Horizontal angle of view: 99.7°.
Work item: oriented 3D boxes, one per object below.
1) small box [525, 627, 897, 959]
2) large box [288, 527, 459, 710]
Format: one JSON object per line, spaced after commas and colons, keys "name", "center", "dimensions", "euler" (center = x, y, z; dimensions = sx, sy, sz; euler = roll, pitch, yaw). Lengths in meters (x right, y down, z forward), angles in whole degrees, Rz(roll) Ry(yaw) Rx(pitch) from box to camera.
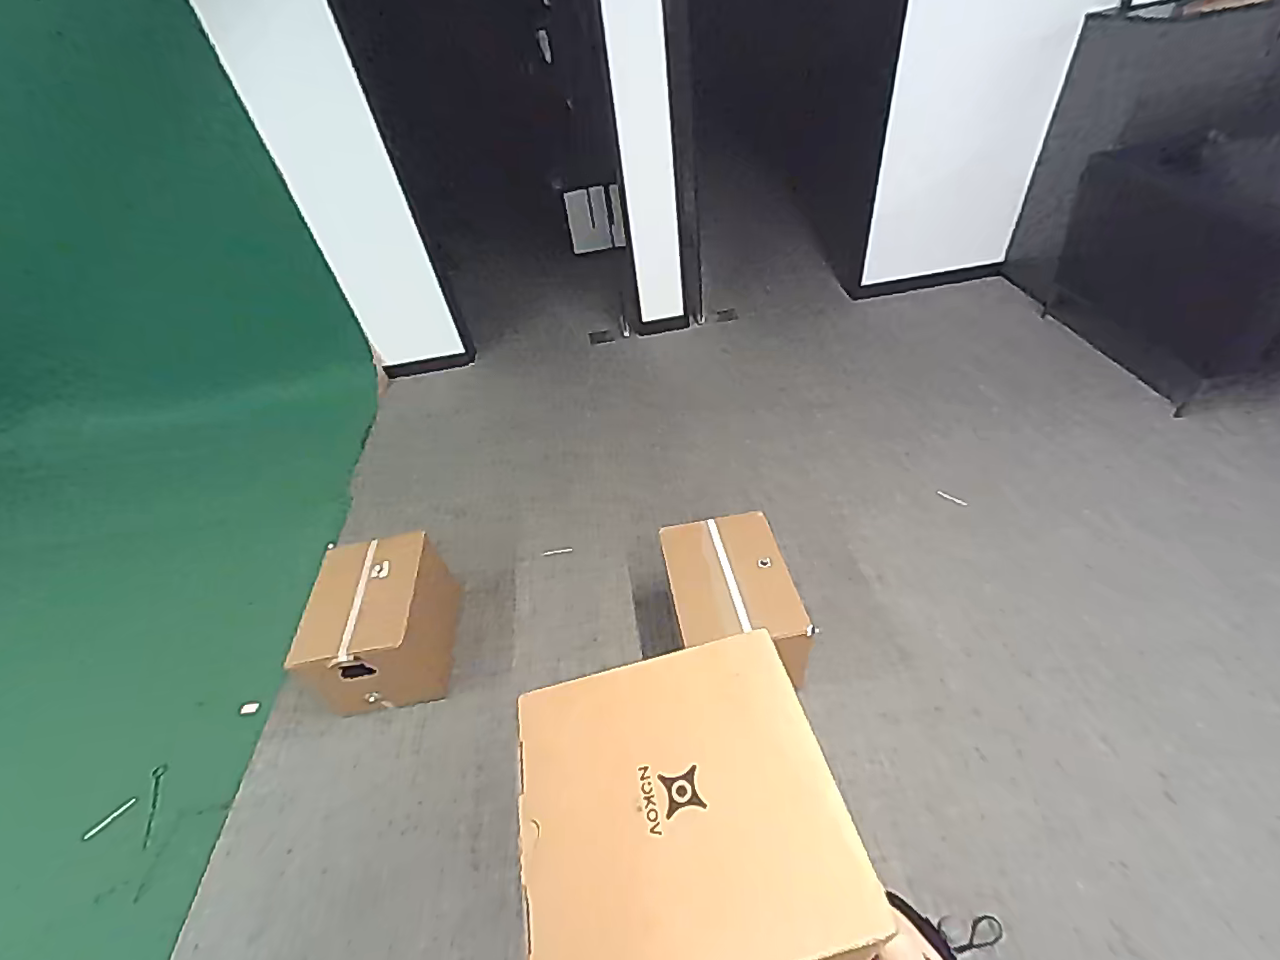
{"name": "small box", "center": [0.034, 0.230, 0.361], "dimensions": [0.179, 0.176, 0.168], "euler": [-15, 43, -2]}
{"name": "large box", "center": [-0.769, 0.416, 1.636], "dimensions": [0.320, 0.320, 0.408], "euler": [-11, 43, 0]}
